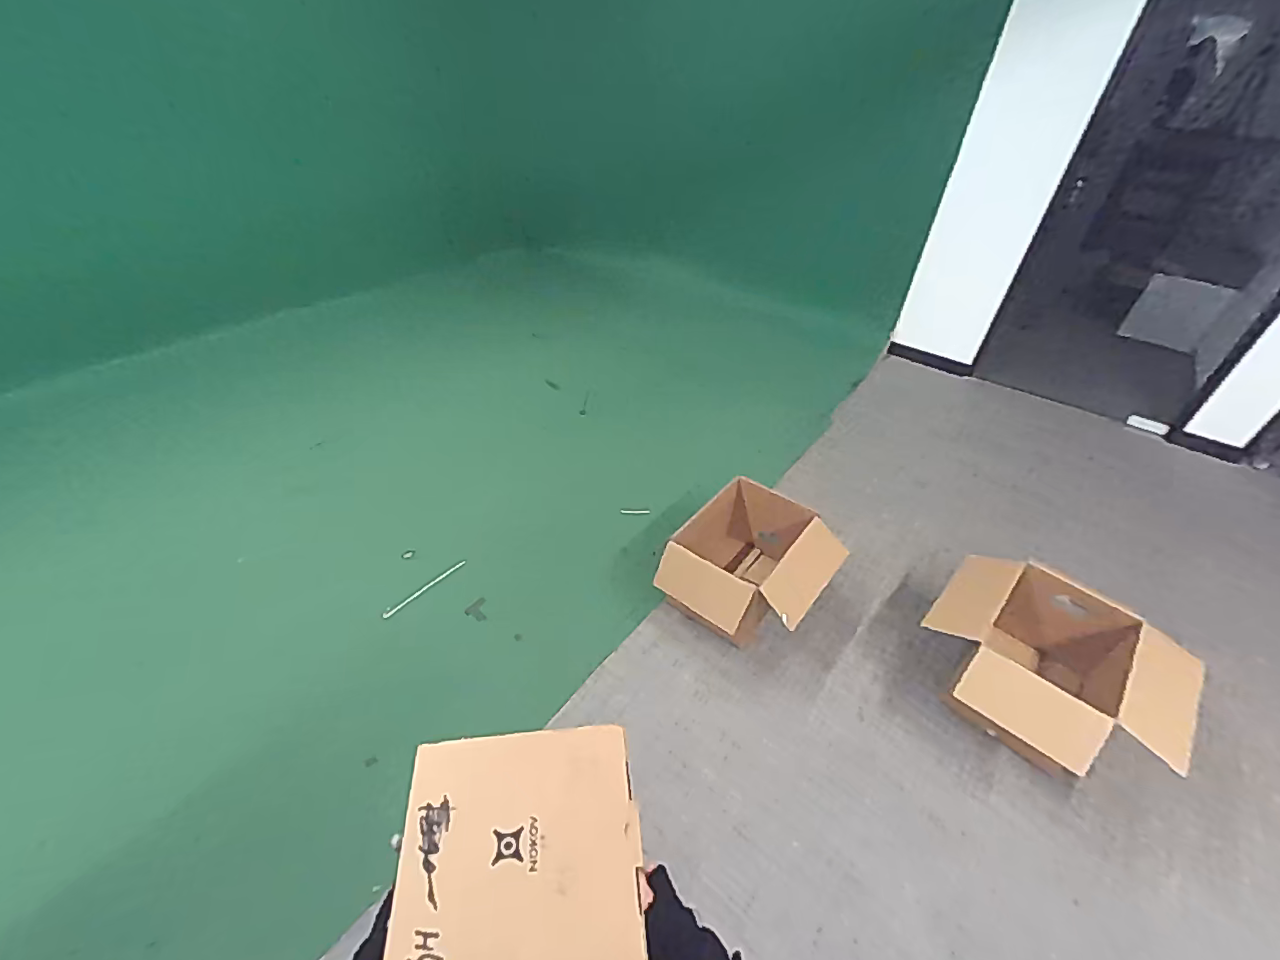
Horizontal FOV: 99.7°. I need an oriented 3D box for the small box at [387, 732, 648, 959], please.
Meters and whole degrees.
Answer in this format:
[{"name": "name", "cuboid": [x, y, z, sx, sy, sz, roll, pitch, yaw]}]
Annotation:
[{"name": "small box", "cuboid": [-0.094, 0.336, 0.464, 0.179, 0.176, 0.168, -1, 43, -7]}]
